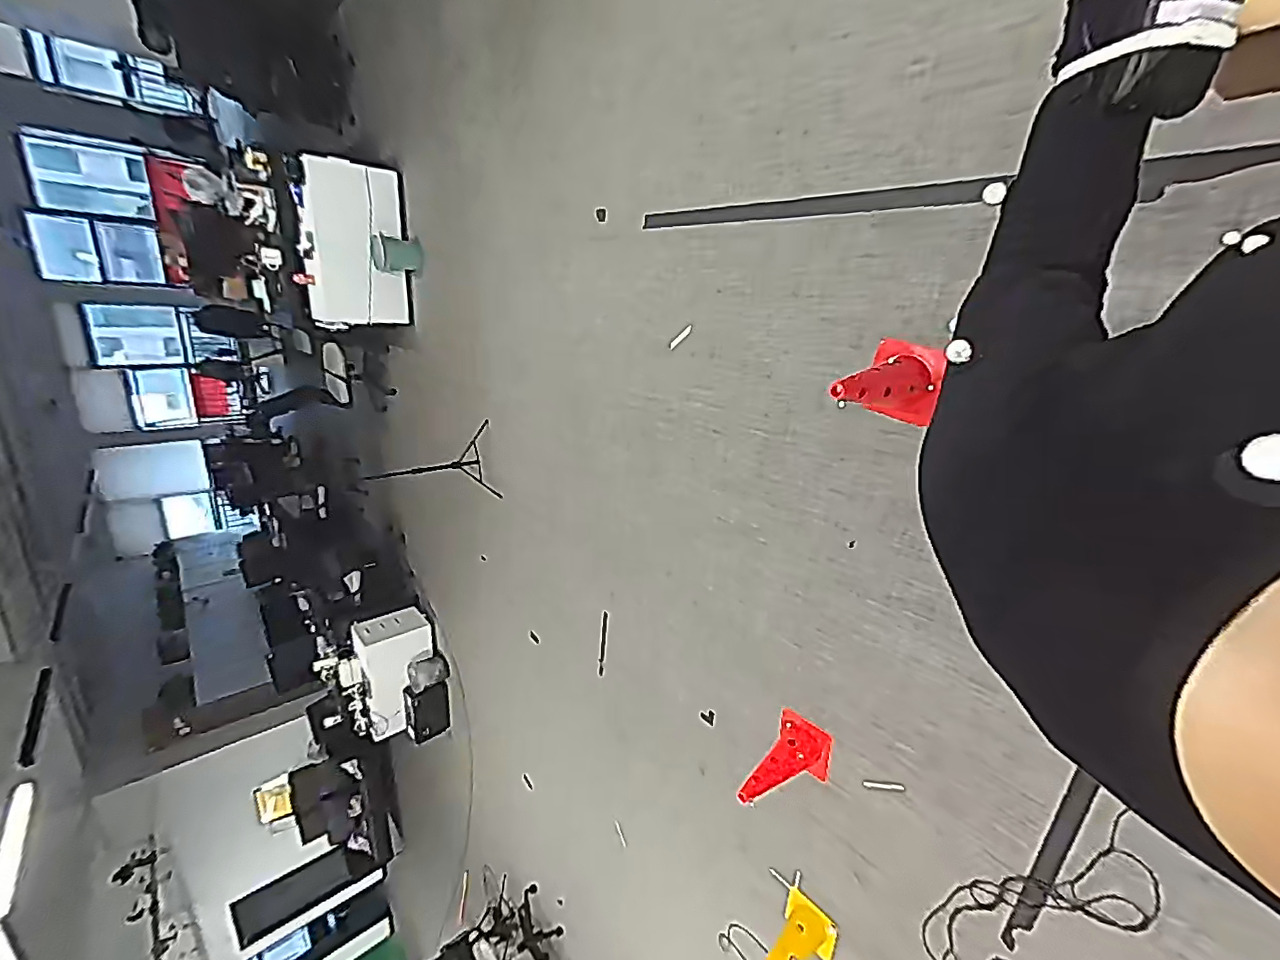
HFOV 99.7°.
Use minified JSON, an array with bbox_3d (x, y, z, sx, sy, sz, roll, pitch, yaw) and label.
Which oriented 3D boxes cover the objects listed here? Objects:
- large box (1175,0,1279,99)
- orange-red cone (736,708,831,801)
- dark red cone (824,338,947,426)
[{"bbox_3d":[0.587,-0.443,0.264,0.408,0.320,0.320,18,121,46],"label":"large box"},{"bbox_3d":[0.452,0.965,1.810,0.198,0.360,0.199,21,117,46],"label":"orange-red cone"},{"bbox_3d":[0.565,-0.236,1.324,0.201,0.394,0.202,30,121,41],"label":"dark red cone"}]
